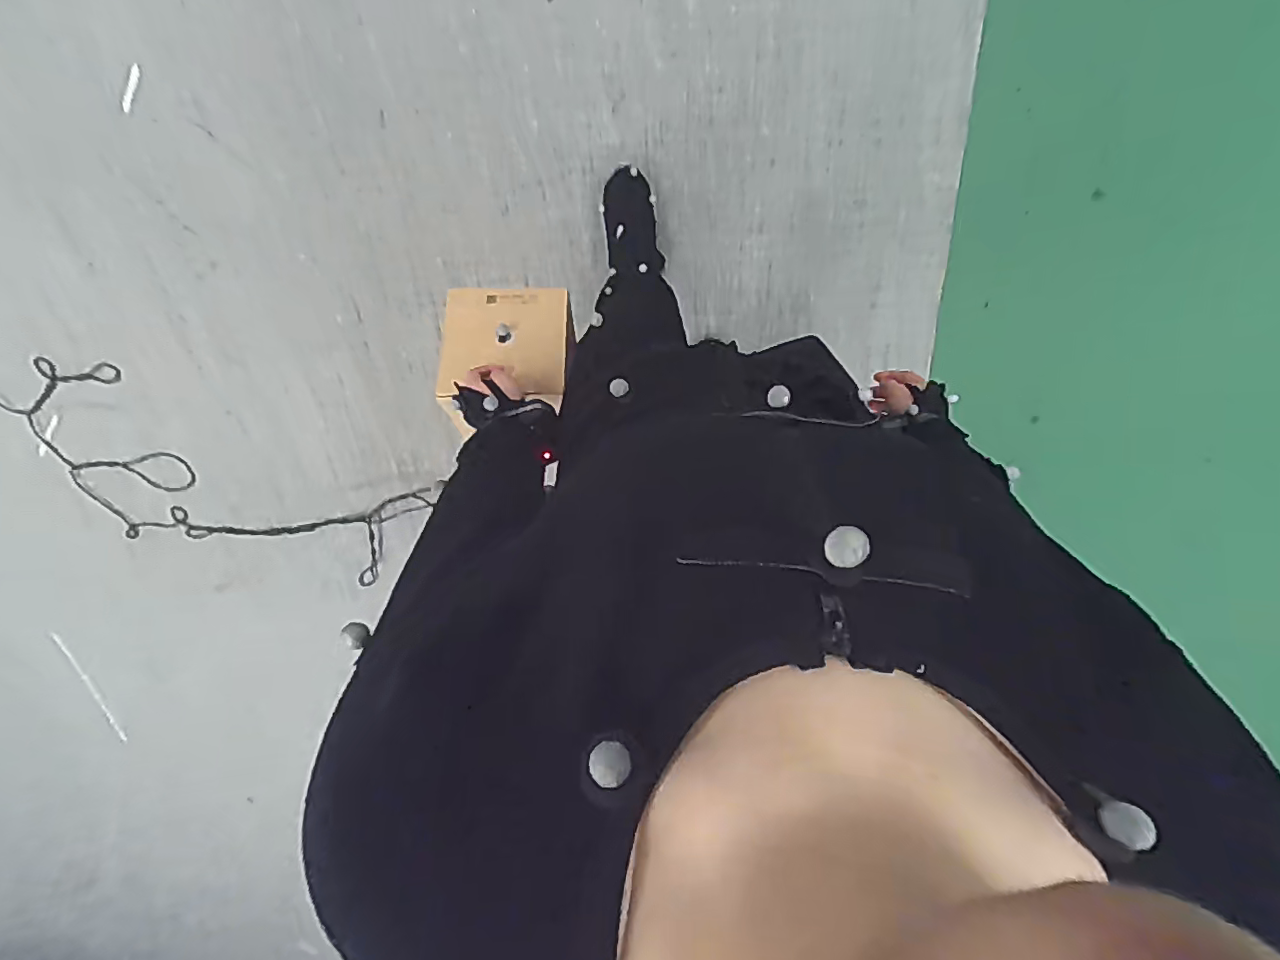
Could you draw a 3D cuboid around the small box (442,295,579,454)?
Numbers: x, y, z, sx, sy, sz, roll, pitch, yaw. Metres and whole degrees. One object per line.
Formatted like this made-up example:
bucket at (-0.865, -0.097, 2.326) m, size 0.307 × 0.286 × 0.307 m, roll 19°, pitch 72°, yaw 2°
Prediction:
small box at (-0.179, -0.153, 0.795) m, size 0.168 × 0.176 × 0.179 m, roll -2°, pitch 158°, yaw -2°
